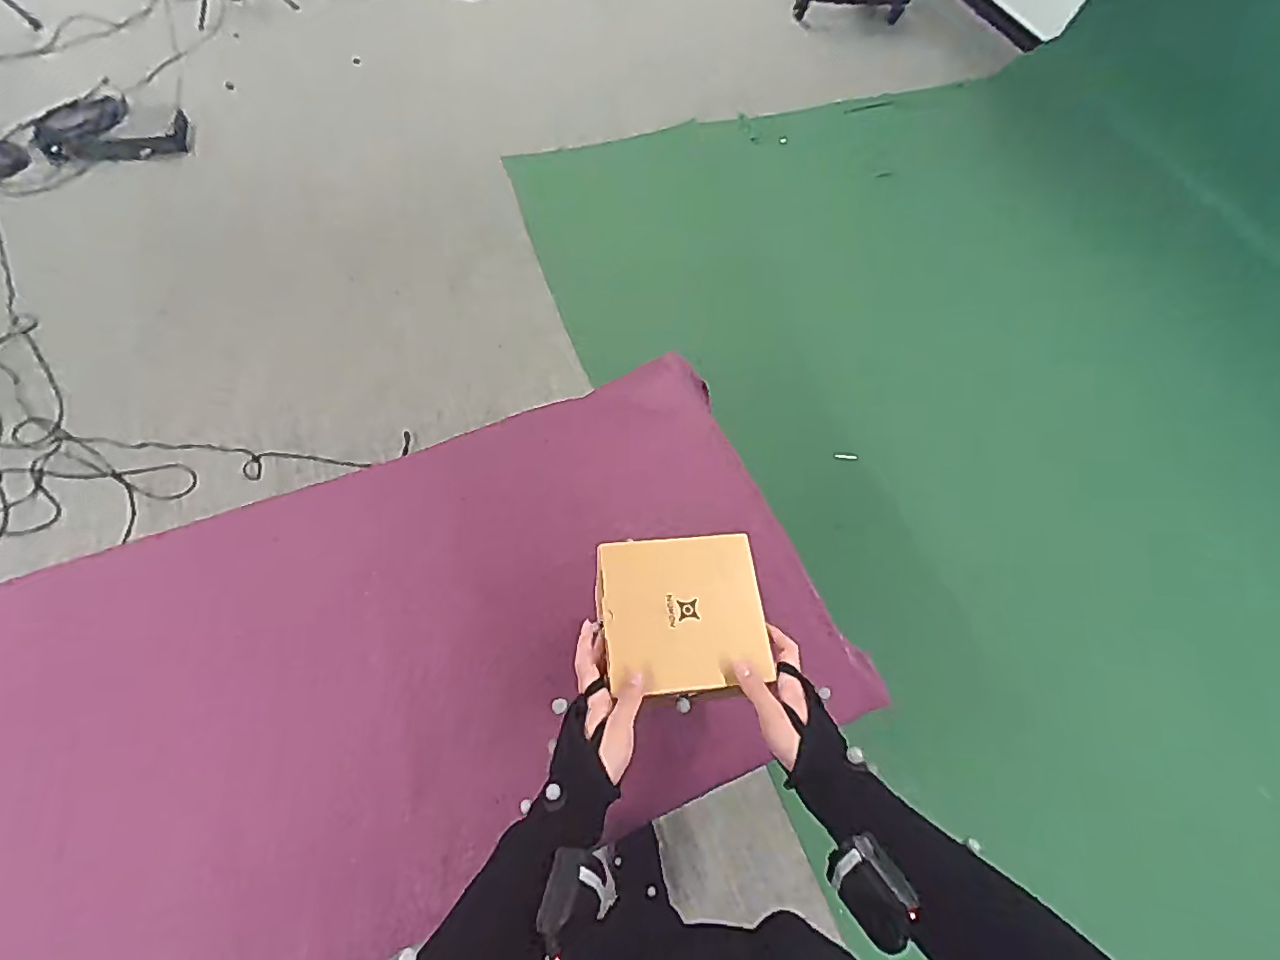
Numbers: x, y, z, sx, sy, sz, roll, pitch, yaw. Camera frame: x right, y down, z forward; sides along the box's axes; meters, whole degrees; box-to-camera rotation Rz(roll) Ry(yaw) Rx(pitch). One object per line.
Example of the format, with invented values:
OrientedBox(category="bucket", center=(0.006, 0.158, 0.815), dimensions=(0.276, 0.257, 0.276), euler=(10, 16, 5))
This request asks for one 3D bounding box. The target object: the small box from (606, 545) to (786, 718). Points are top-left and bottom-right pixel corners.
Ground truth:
OrientedBox(category="small box", center=(0.052, 0.186, 0.648), dimensions=(0.179, 0.176, 0.168), euler=(-3, 63, -6))
